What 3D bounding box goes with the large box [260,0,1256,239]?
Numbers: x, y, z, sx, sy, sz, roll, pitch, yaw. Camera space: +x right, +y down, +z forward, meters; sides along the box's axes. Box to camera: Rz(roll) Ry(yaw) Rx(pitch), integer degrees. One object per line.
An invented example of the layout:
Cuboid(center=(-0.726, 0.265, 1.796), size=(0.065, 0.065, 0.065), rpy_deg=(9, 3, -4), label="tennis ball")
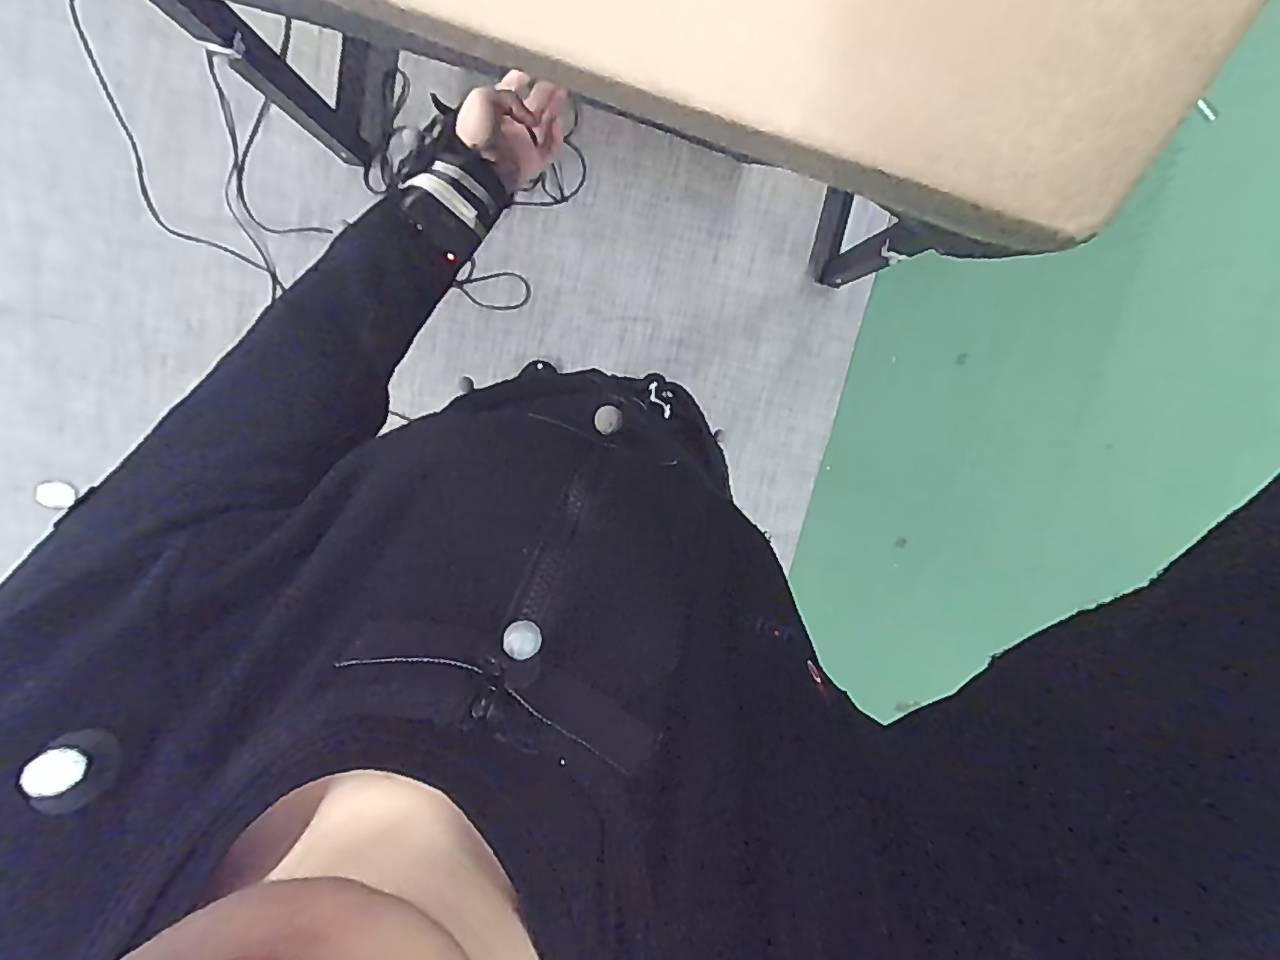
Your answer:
Cuboid(center=(0.055, -0.335, 0.239), size=(0.408, 0.320, 0.320), rpy_deg=(26, 123, 13), label="large box")
